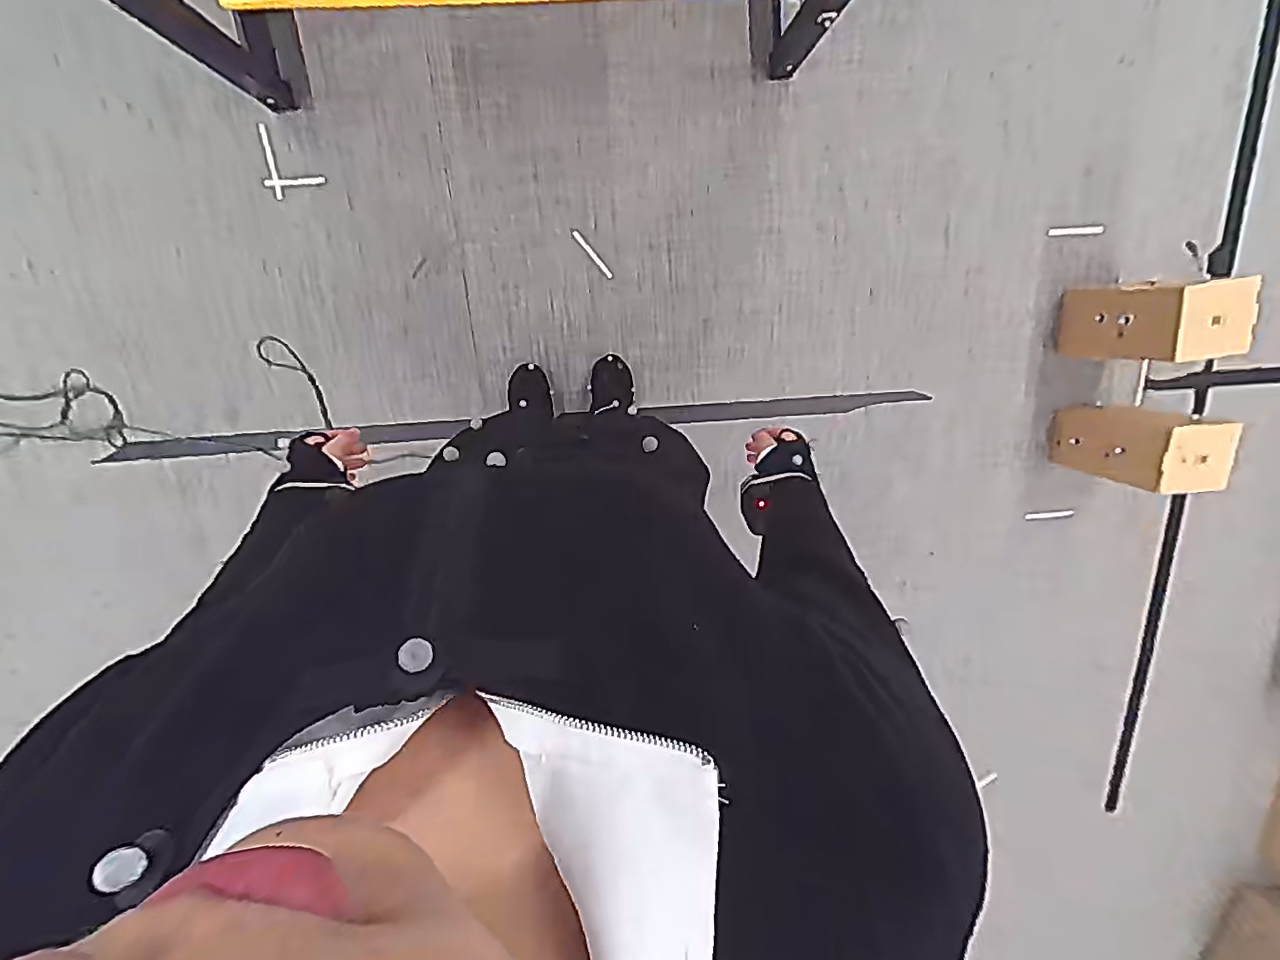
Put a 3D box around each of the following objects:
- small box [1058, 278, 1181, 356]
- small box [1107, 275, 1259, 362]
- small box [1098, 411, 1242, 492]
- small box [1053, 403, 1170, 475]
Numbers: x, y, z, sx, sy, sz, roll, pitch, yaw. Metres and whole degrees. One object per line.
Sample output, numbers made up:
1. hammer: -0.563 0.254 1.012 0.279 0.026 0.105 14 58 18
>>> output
1. small box: 1.237 -0.419 1.408 0.168 0.176 0.179 -7 107 -2
2. small box: 1.247 -0.372 1.253 0.179 0.176 0.168 -9 105 -1
3. small box: 1.302 -0.075 1.340 0.179 0.176 0.168 -4 106 -3
4. small box: 1.297 -0.118 1.501 0.179 0.176 0.168 -5 106 -2
